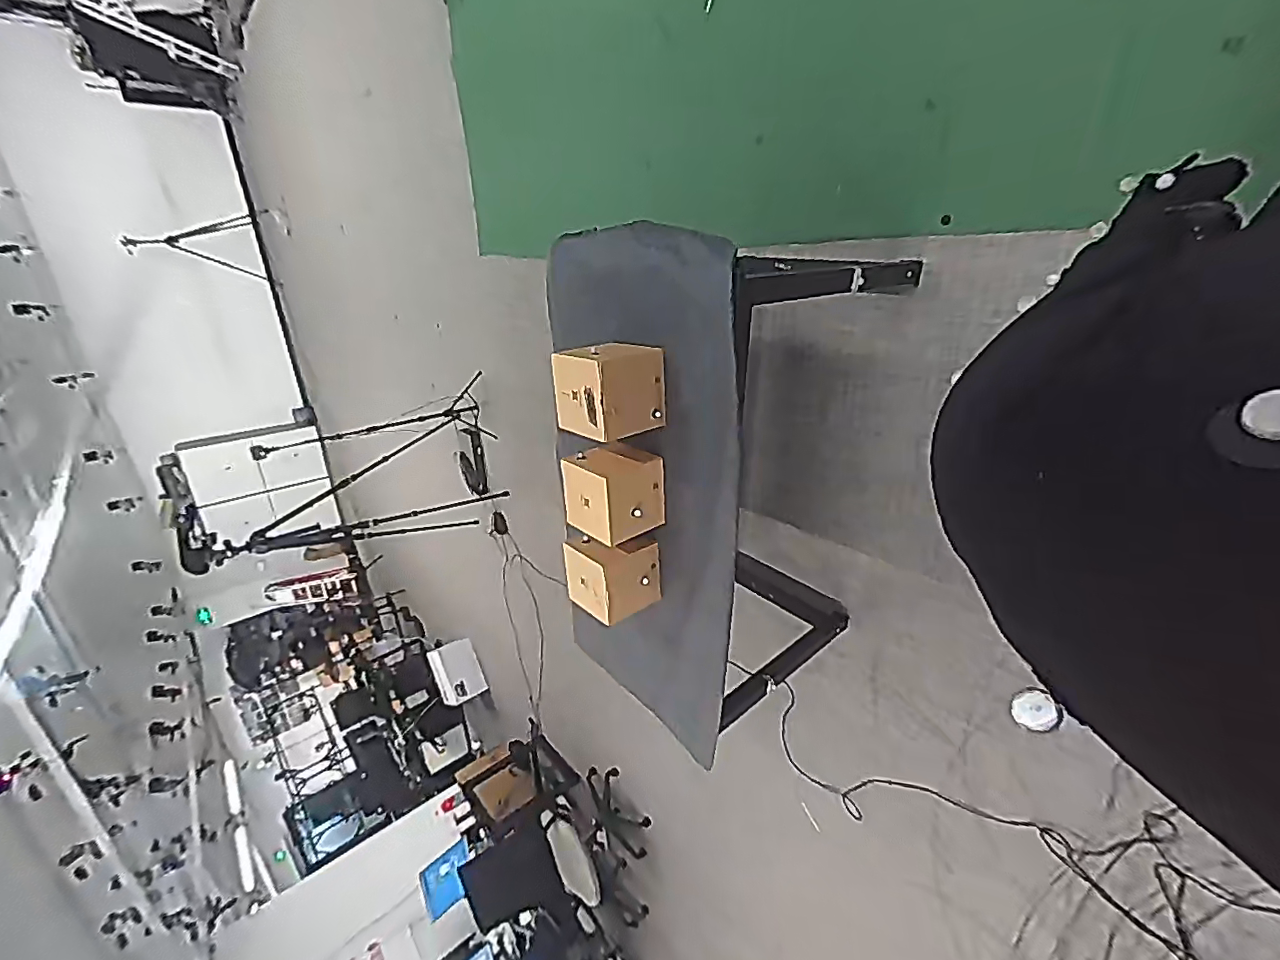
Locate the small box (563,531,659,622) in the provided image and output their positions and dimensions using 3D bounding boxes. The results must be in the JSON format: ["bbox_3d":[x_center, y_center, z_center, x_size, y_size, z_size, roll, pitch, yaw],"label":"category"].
[{"bbox_3d":[-0.071,0.220,1.354,0.179,0.176,0.168,21,122,46],"label":"small box"}]

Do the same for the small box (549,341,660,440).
[{"bbox_3d":[-0.068,-0.198,1.151,0.179,0.176,0.168,22,123,46],"label":"small box"}]

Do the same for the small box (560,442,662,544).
[{"bbox_3d":[-0.061,0.021,1.251,0.179,0.176,0.168,22,123,46],"label":"small box"}]
